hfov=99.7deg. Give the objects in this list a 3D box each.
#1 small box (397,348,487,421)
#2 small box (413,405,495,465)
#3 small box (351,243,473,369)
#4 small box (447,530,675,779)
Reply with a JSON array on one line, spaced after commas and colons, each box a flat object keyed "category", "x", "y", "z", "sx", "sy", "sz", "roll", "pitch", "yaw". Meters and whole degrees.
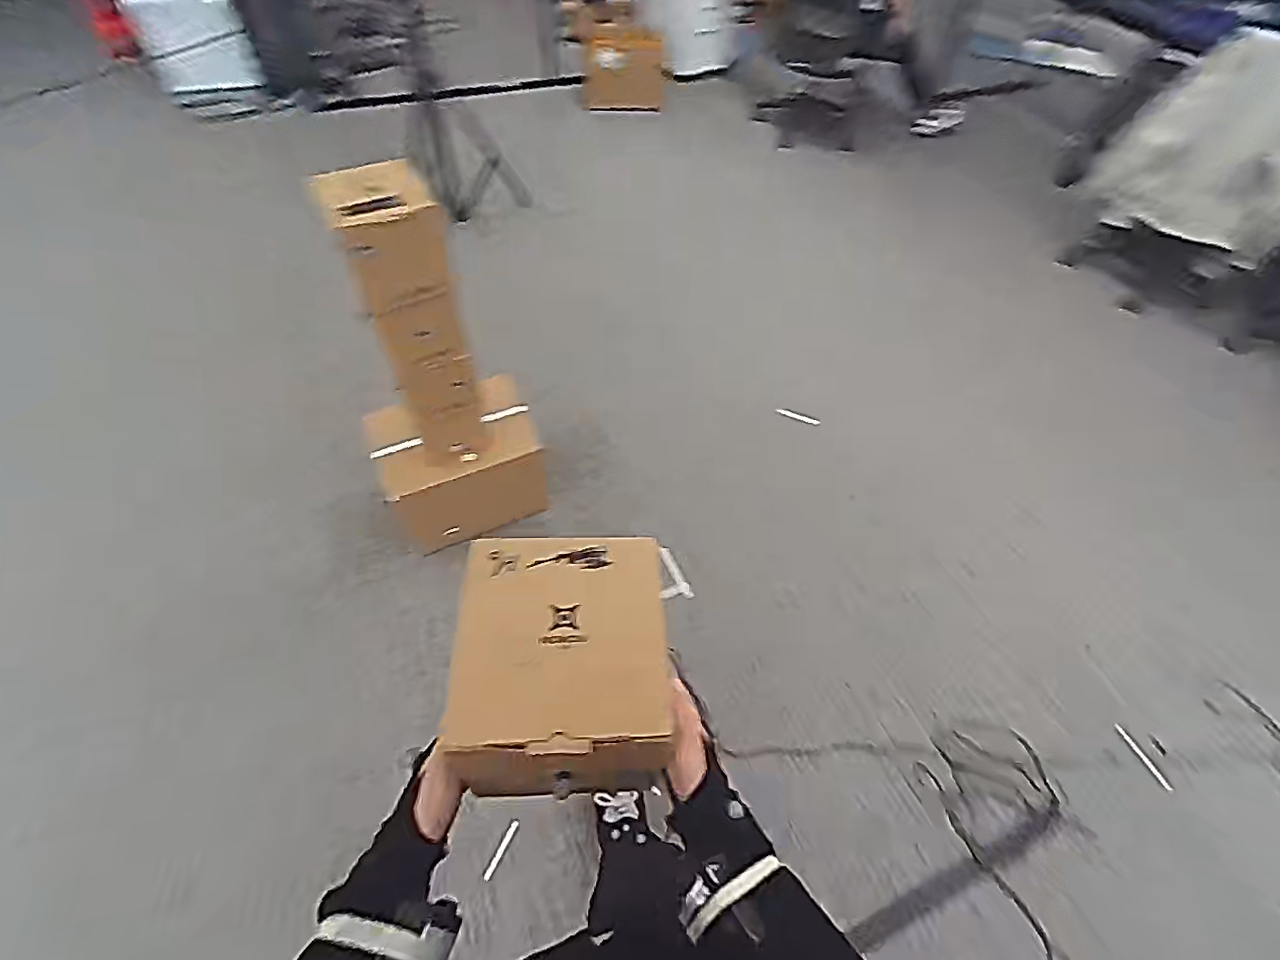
[{"category": "small box", "x": -0.470, "y": -0.259, "z": 1.257, "sx": 0.168, "sy": 0.176, "sz": 0.179, "roll": -21, "pitch": 59, "yaw": -19}, {"category": "small box", "x": -0.486, "y": -0.170, "z": 1.392, "sx": 0.168, "sy": 0.176, "sz": 0.179, "roll": -21, "pitch": 60, "yaw": -17}, {"category": "small box", "x": -0.464, "y": -0.353, "z": 1.122, "sx": 0.168, "sy": 0.176, "sz": 0.179, "roll": -25, "pitch": 61, "yaw": -21}, {"category": "small box", "x": -0.064, "y": 0.164, "z": 0.496, "sx": 0.168, "sy": 0.176, "sz": 0.179, "roll": 0, "pitch": 50, "yaw": -6}]
